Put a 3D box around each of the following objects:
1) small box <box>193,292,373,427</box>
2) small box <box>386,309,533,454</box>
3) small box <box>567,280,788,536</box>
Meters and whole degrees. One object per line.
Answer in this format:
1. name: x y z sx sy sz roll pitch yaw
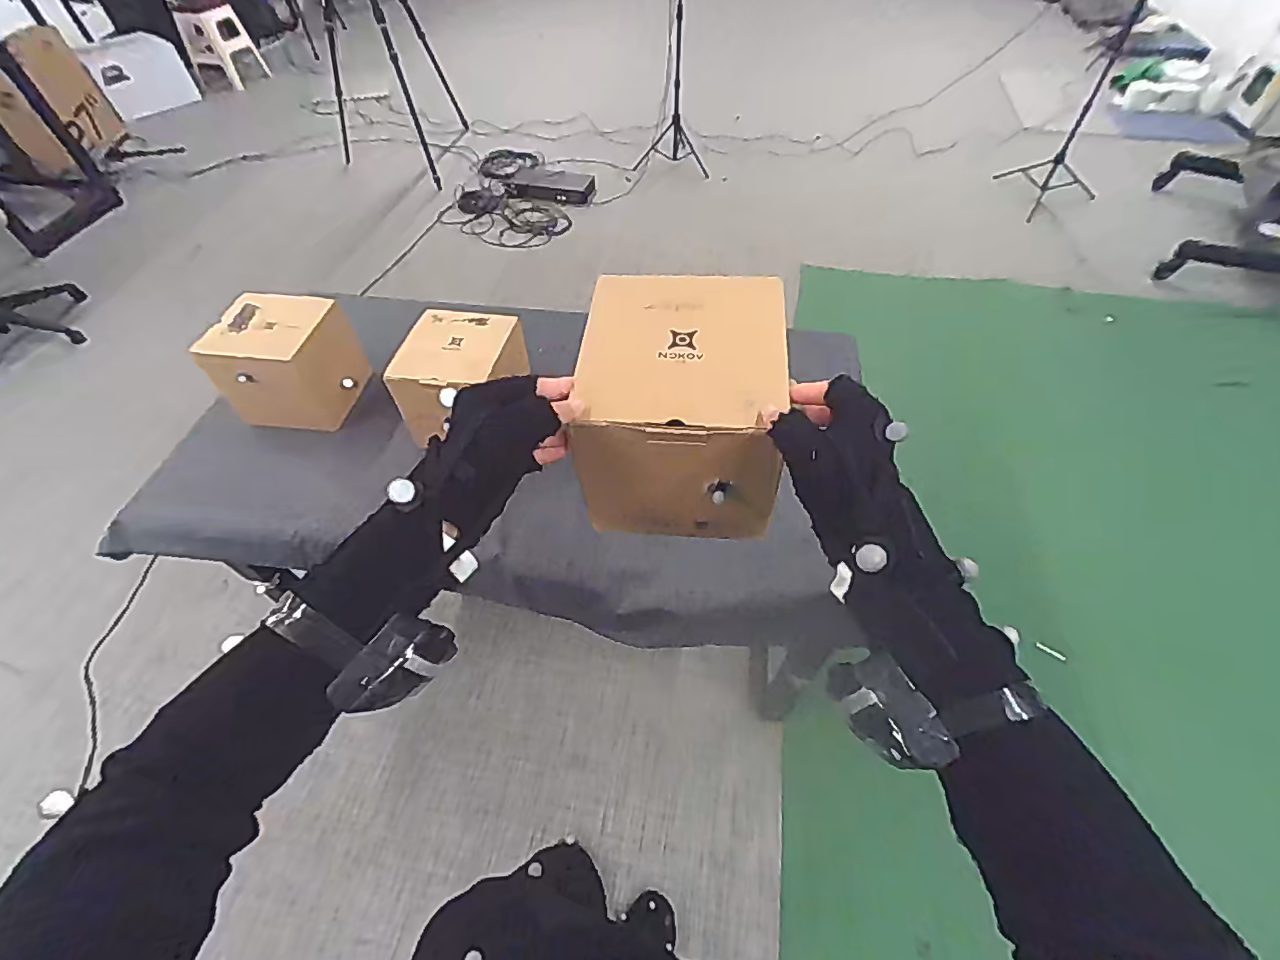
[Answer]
1. small box: -0.619 -0.211 0.966 0.179 0.176 0.168 6 53 4
2. small box: -0.293 -0.165 0.927 0.168 0.176 0.179 7 54 6
3. small box: 0.040 -0.063 0.504 0.168 0.176 0.179 3 55 6
